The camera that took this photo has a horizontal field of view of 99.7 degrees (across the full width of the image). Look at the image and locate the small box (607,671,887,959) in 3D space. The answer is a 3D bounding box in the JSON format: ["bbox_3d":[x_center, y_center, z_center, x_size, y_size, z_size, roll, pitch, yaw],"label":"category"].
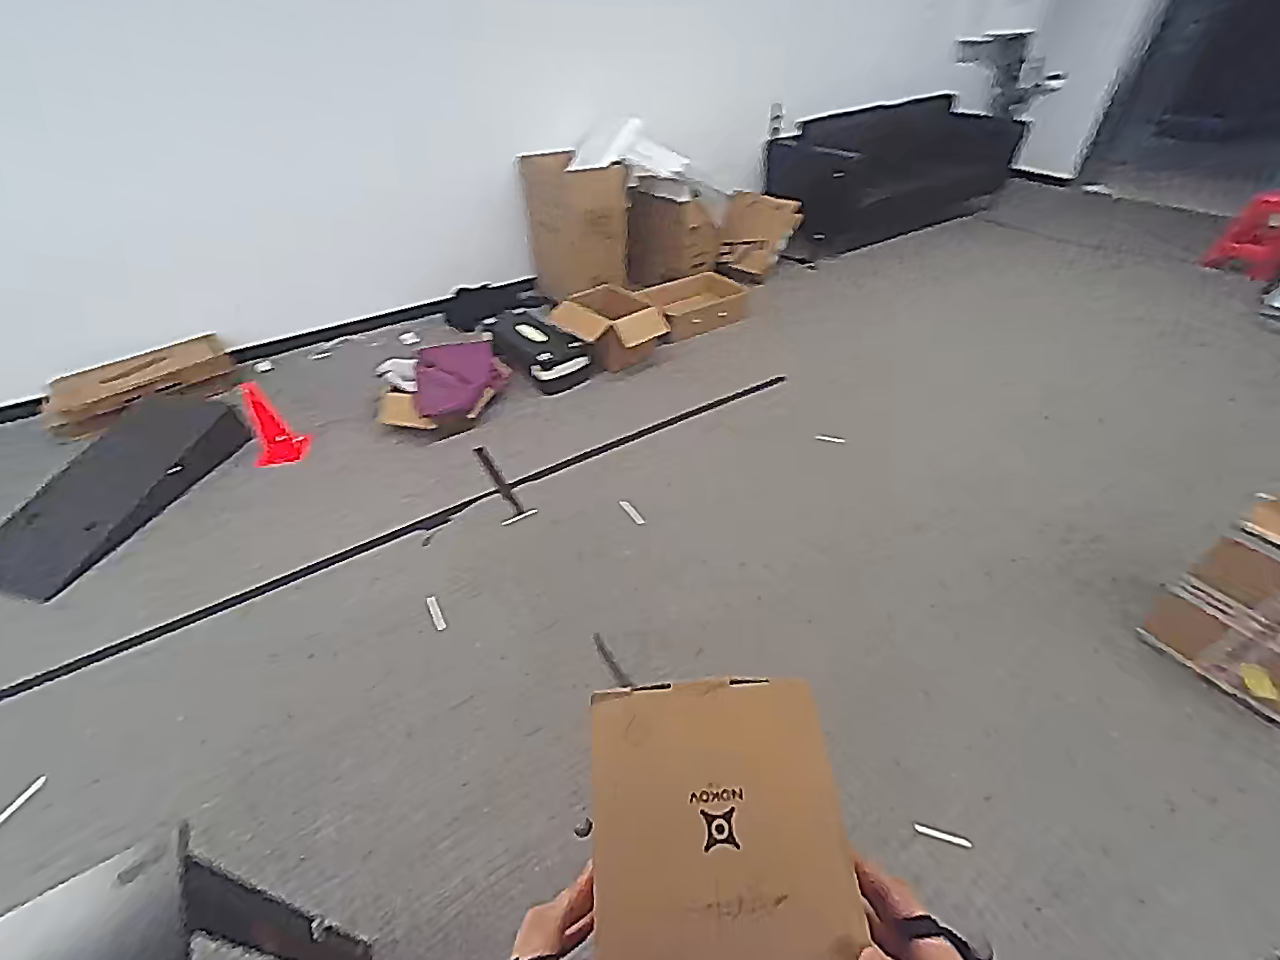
[{"bbox_3d":[0.057,0.263,0.424,0.168,0.176,0.179,-2,57,-3],"label":"small box"}]
